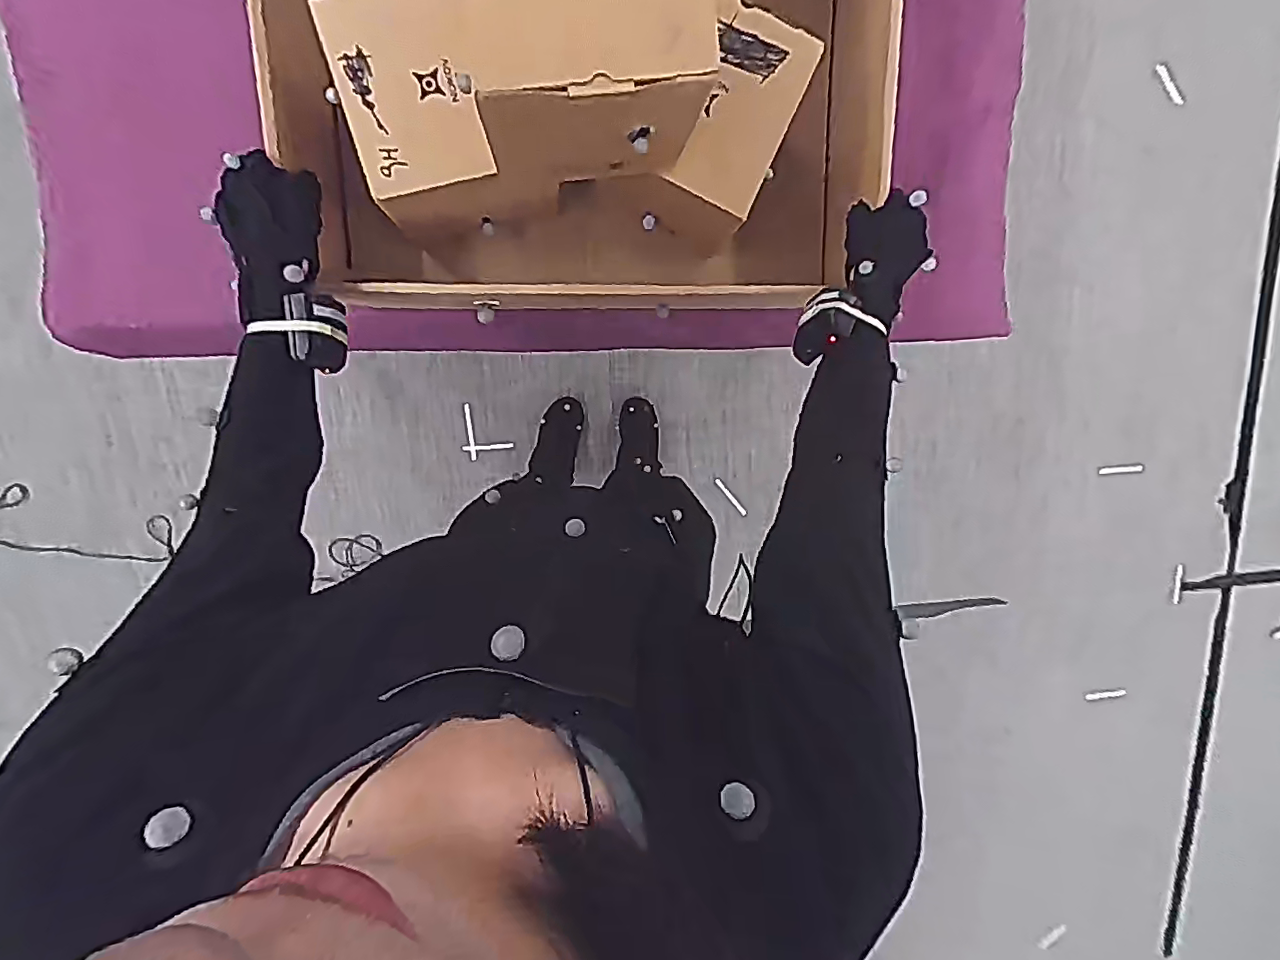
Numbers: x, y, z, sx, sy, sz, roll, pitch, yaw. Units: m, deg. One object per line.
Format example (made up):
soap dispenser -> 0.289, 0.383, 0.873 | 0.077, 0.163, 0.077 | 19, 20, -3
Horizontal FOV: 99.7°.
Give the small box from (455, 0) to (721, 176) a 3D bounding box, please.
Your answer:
small box -> -0.047, -0.351, 0.408 | 0.168, 0.176, 0.179 | -9, 100, -7
